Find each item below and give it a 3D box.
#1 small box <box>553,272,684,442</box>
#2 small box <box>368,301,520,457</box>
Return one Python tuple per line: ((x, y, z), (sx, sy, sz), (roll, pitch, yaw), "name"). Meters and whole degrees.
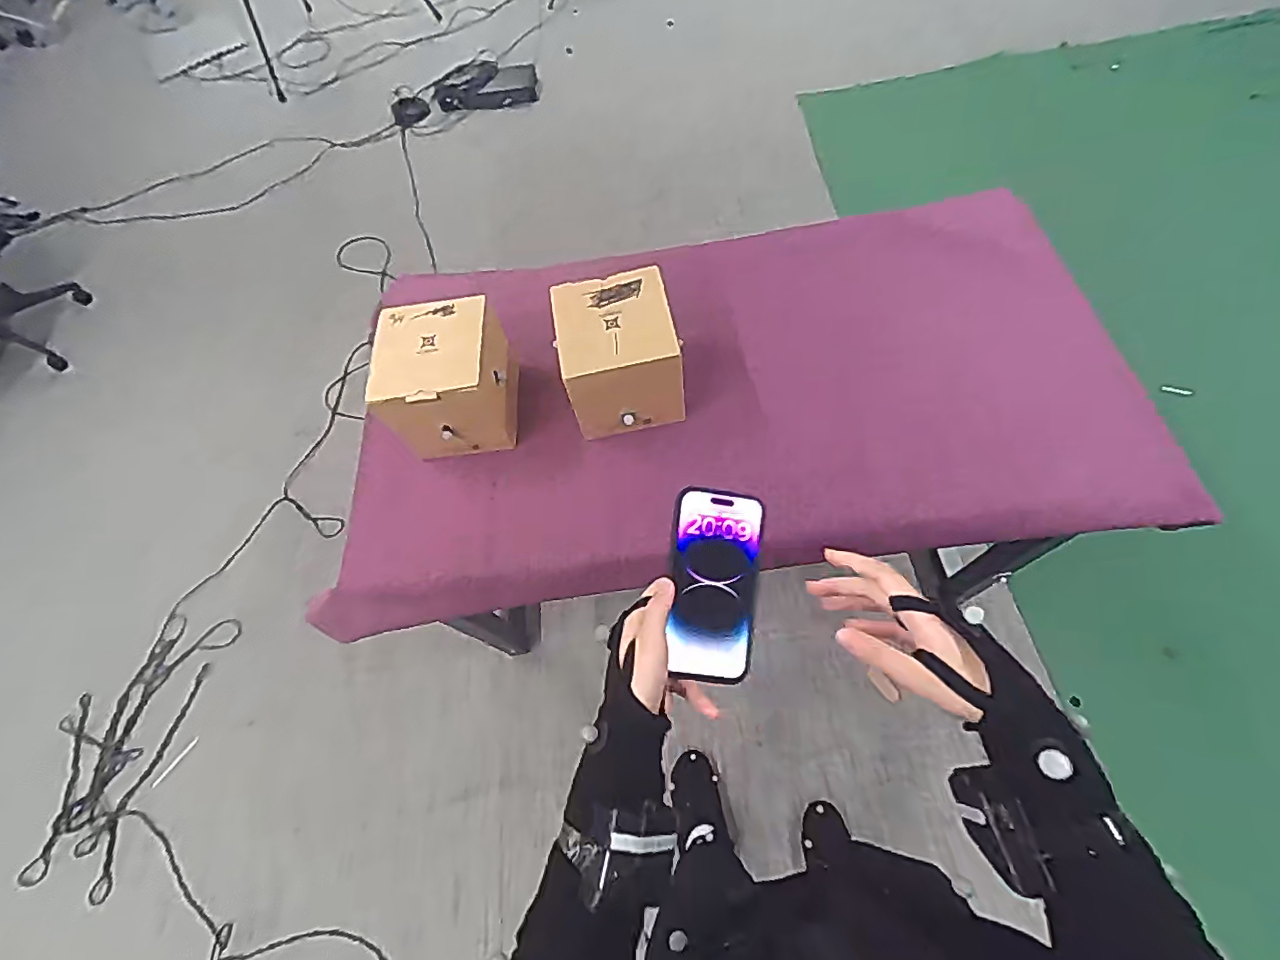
((-0.029, -0.184, 0.836), (0.168, 0.176, 0.179), (-12, 63, 2), "small box")
((-0.295, -0.148, 0.852), (0.168, 0.176, 0.179), (-7, 63, 4), "small box")
